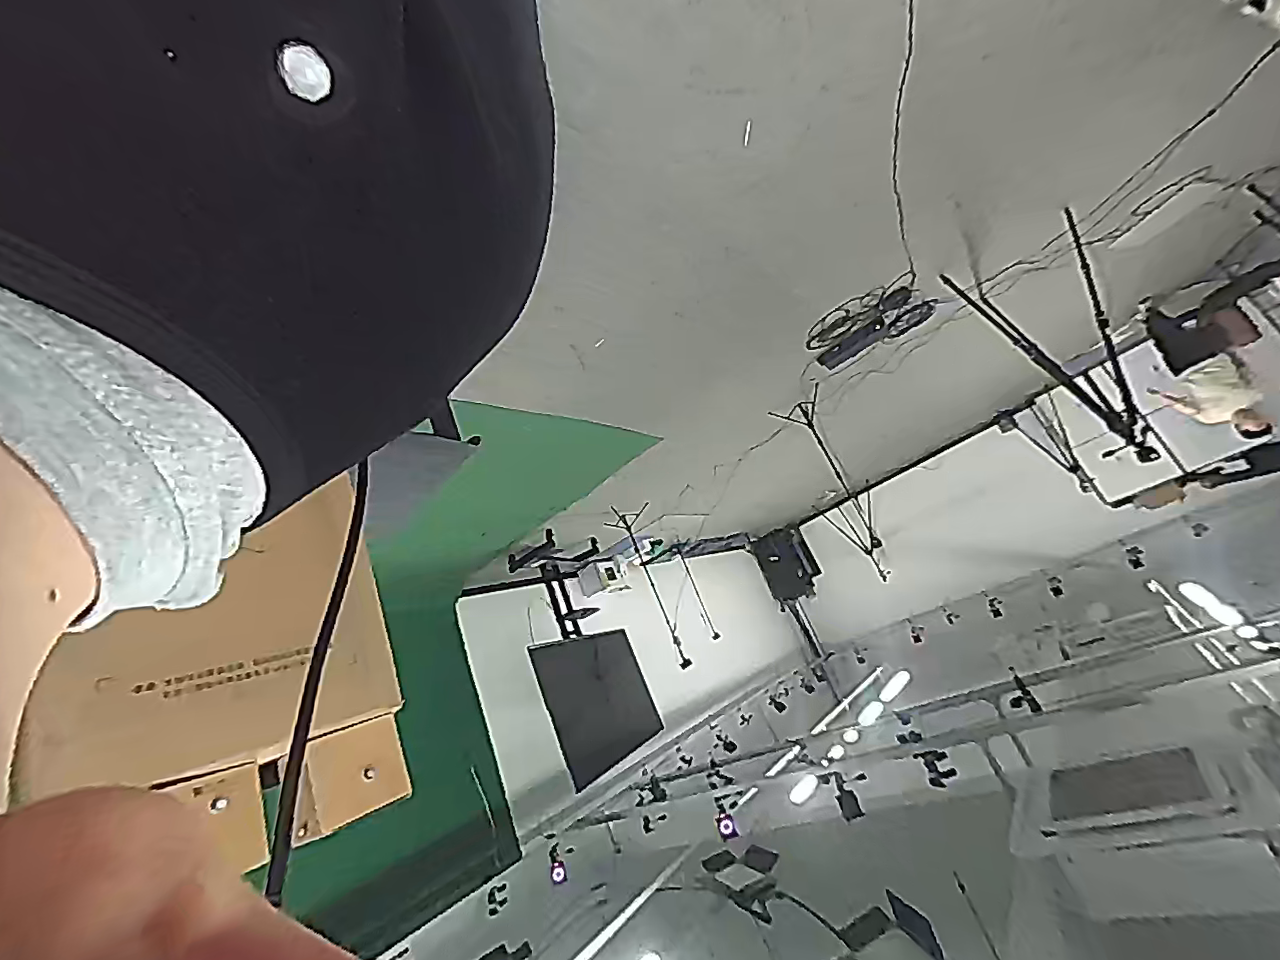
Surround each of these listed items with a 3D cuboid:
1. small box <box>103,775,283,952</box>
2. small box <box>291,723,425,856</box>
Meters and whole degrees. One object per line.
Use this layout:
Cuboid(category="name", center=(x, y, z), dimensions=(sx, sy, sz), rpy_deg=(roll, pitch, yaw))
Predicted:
Cuboid(category="small box", center=(-0.744, 0.625, 0.903), dimensions=(0.179, 0.176, 0.168), rpy_deg=(-29, 160, 12))
Cuboid(category="small box", center=(-0.577, 0.622, 1.102), dimensions=(0.168, 0.176, 0.179), rpy_deg=(-39, 159, 34))
